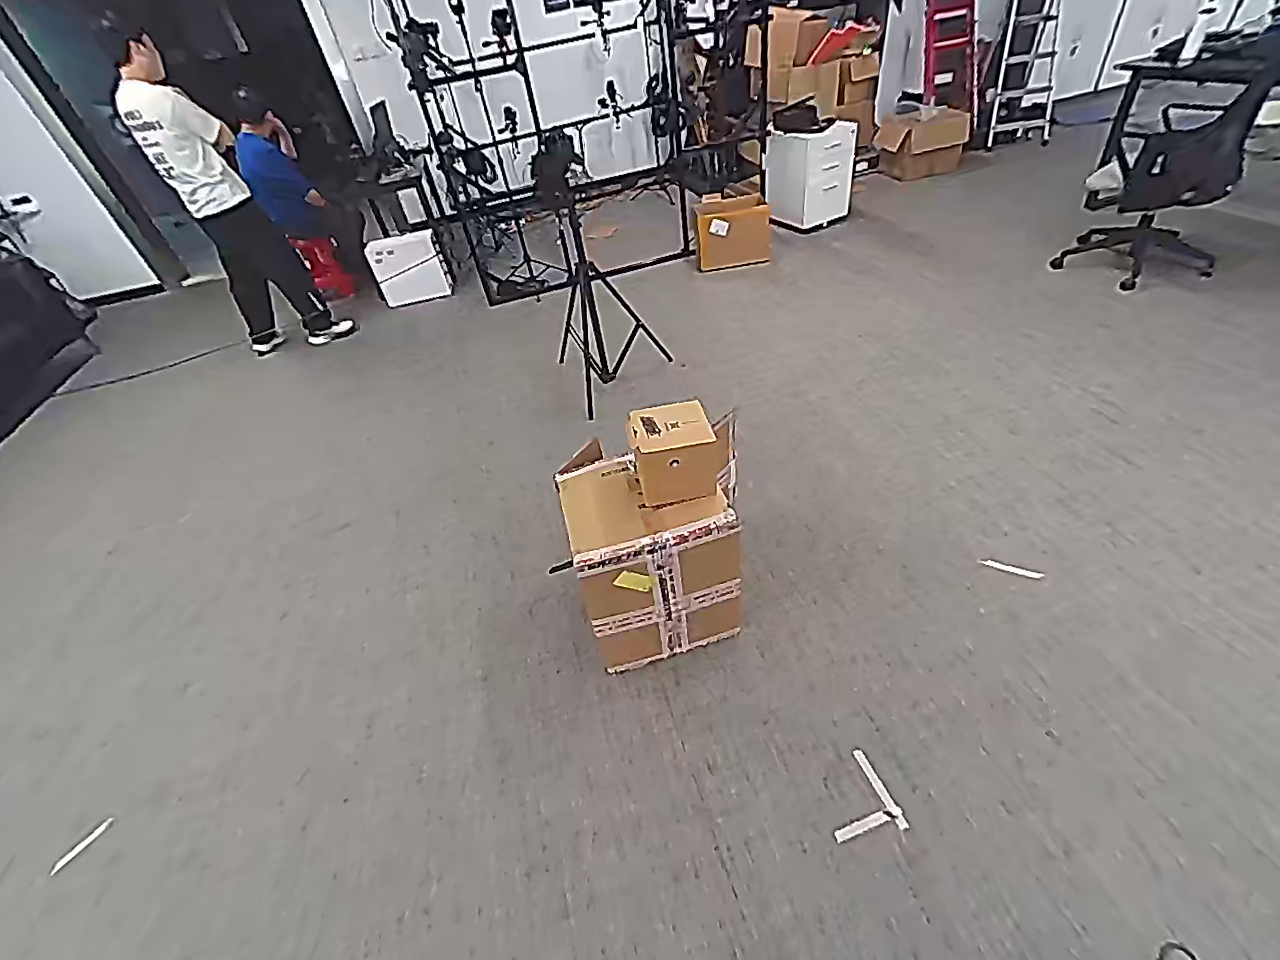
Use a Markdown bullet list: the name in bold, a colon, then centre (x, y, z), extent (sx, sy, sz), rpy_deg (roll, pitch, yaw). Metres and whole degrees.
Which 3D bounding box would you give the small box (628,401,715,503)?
- **small box**: centre (0.076, -0.063, 1.297), extent (0.179, 0.176, 0.168), rpy_deg (-11, 43, -4)
